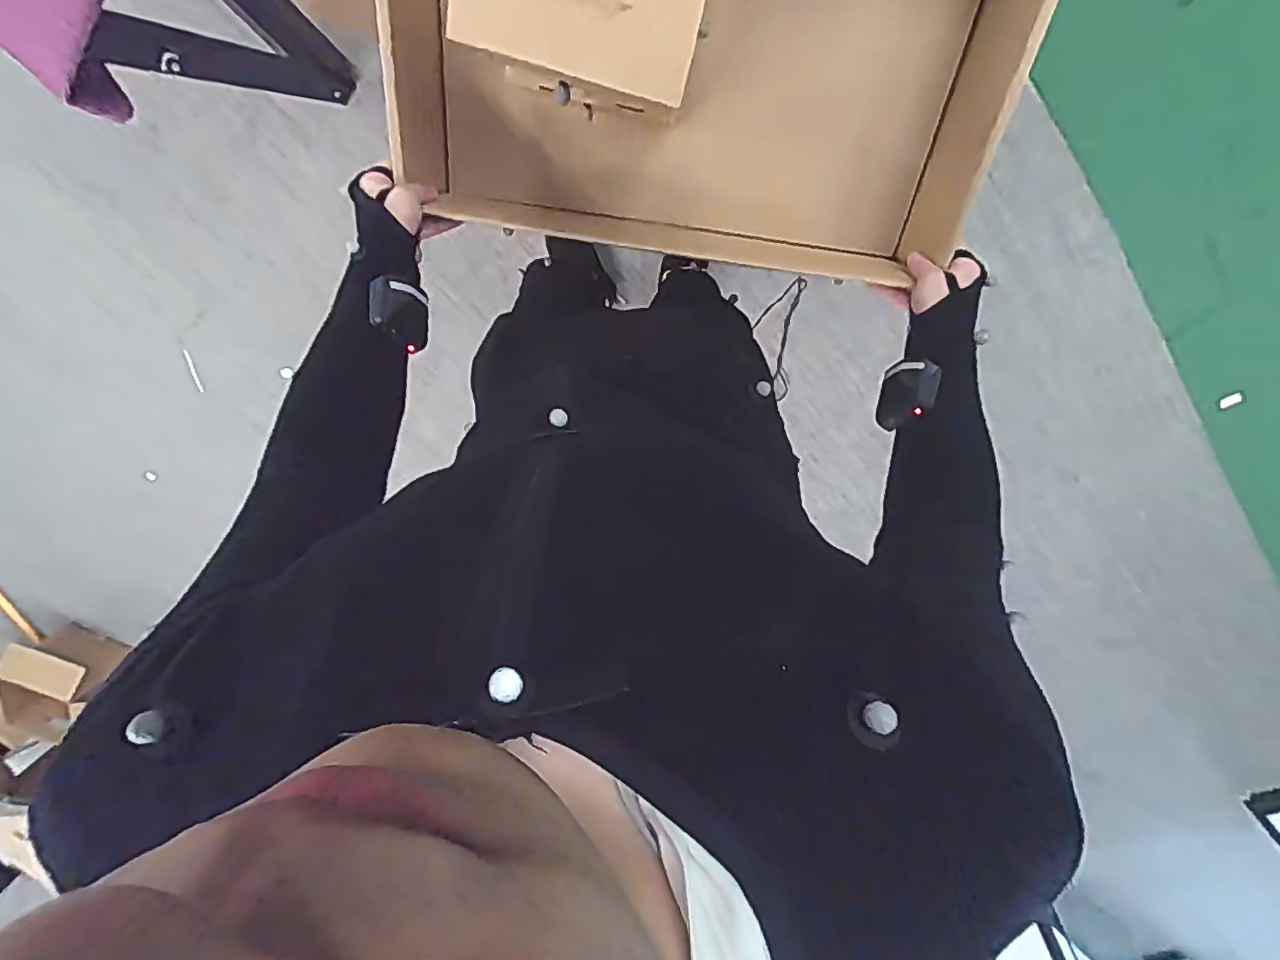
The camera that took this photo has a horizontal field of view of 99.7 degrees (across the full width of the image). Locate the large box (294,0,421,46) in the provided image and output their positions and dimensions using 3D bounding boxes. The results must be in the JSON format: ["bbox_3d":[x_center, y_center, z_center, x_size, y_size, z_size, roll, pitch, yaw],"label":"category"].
[{"bbox_3d":[-0.628,-1.154,1.022,0.320,0.320,0.408,-40,107,24],"label":"large box"}]

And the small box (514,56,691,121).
[{"bbox_3d":[-0.022,-0.478,0.536,0.168,0.176,0.179,10,122,-6],"label":"small box"}]

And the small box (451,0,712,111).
[{"bbox_3d":[-0.023,-0.397,0.393,0.168,0.176,0.179,14,121,-7],"label":"small box"}]
